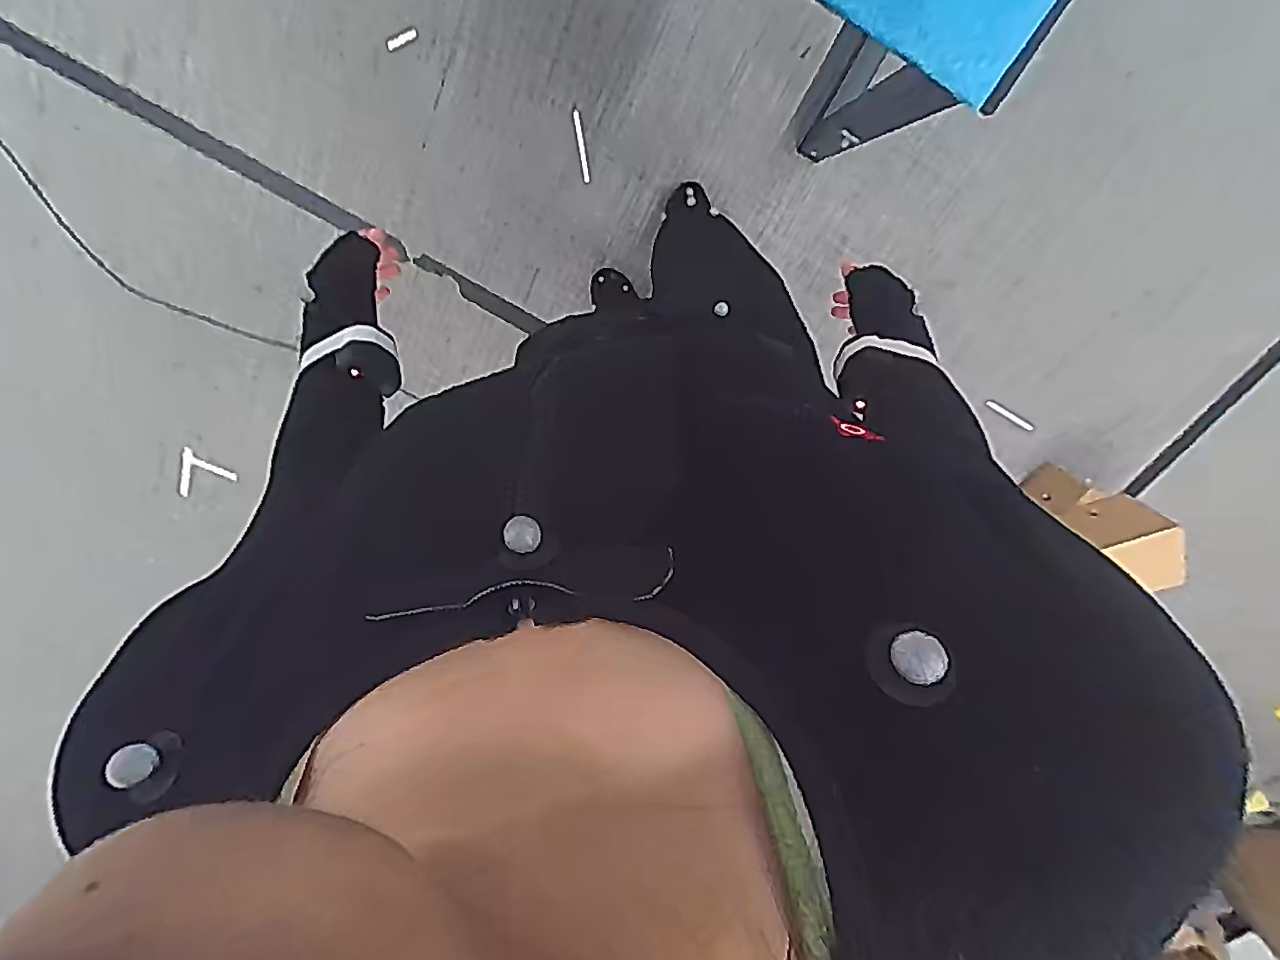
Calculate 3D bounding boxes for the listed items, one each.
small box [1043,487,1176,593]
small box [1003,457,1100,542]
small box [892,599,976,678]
[{"bbox_3d":[1.137,0.148,1.318,0.179,0.176,0.168,-22,113,12],"label":"small box"},{"bbox_3d":[1.133,0.069,1.466,0.168,0.176,0.179,28,113,-11],"label":"small box"},{"bbox_3d":[0.905,0.490,1.685,0.168,0.176,0.179,0,116,5],"label":"small box"}]
